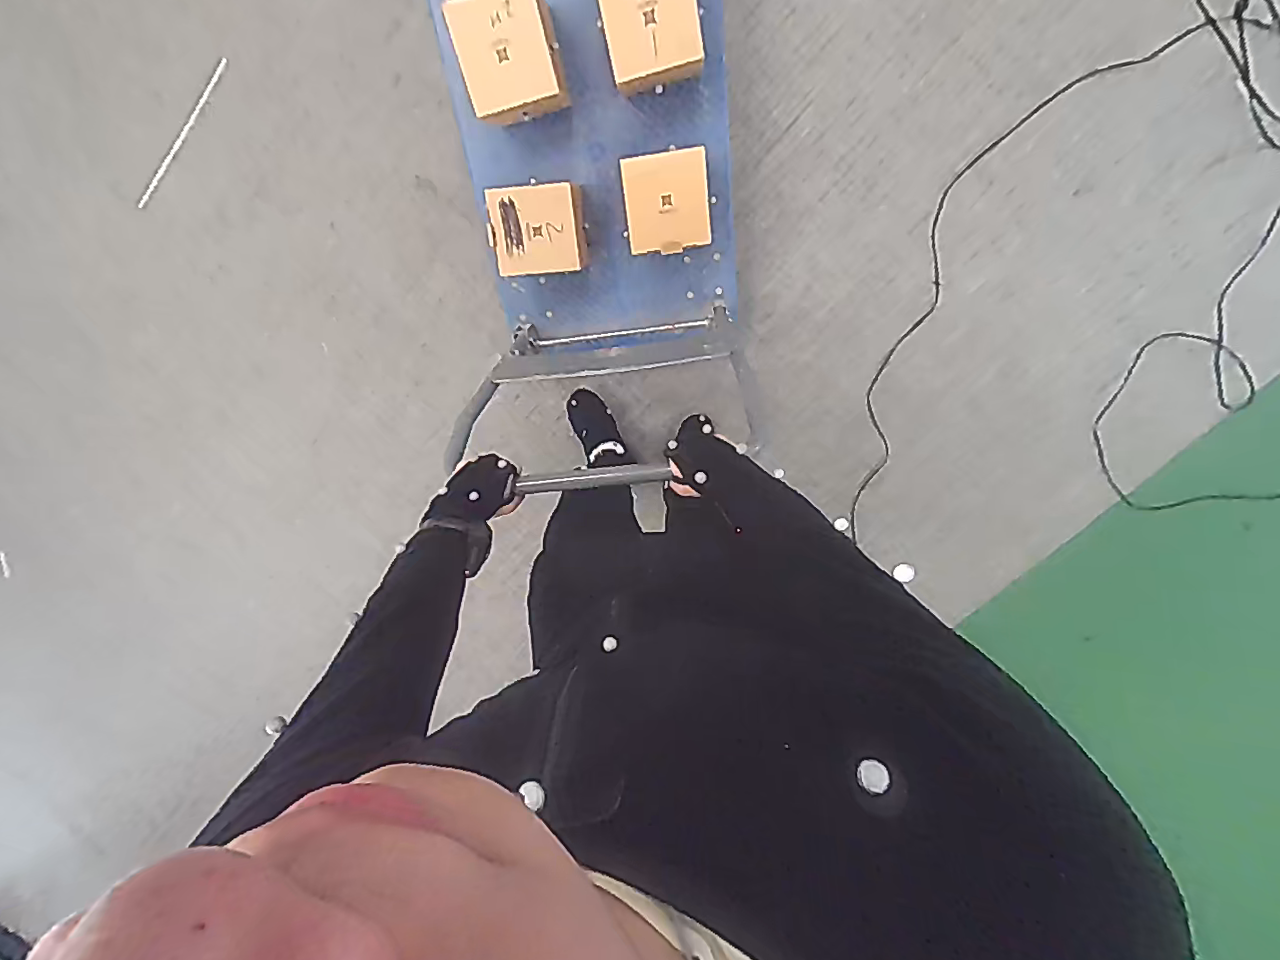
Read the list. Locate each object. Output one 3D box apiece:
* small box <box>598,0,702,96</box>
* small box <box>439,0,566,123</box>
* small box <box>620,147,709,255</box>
[{"bbox_3d":[0.016,-0.844,1.000,0.168,0.176,0.179,-10,118,8],"label":"small box"},{"bbox_3d":[-0.248,-0.802,1.031,0.168,0.176,0.179,-11,117,7],"label":"small box"},{"bbox_3d":[0.052,-0.584,1.140,0.168,0.176,0.179,-6,119,5],"label":"small box"}]
